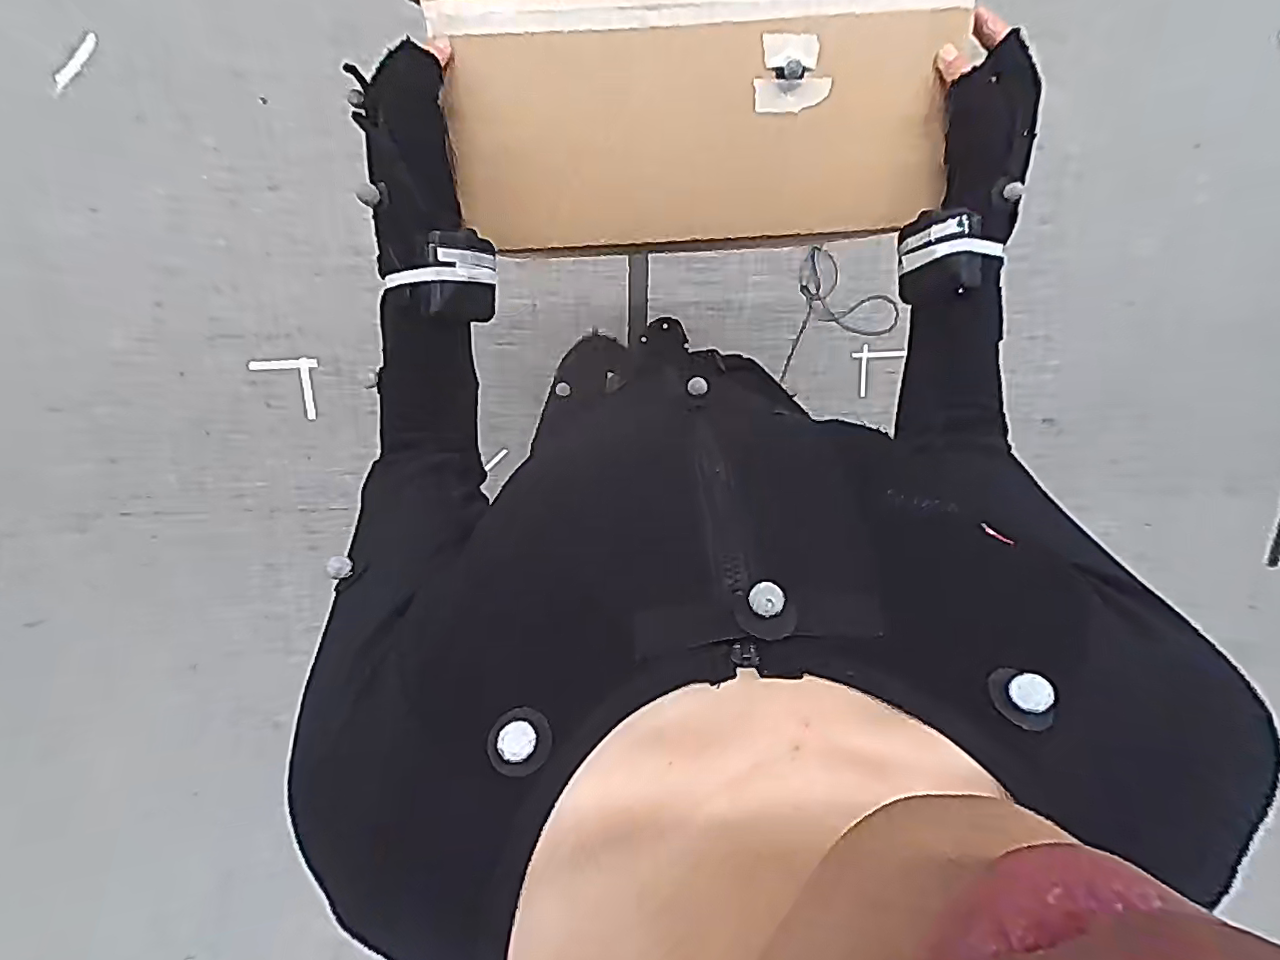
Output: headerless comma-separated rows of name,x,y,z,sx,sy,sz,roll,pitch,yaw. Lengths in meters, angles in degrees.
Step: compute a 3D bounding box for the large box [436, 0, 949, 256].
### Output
large box,0.034,-0.416,0.554,0.408,0.320,0.320,-5,112,-2
